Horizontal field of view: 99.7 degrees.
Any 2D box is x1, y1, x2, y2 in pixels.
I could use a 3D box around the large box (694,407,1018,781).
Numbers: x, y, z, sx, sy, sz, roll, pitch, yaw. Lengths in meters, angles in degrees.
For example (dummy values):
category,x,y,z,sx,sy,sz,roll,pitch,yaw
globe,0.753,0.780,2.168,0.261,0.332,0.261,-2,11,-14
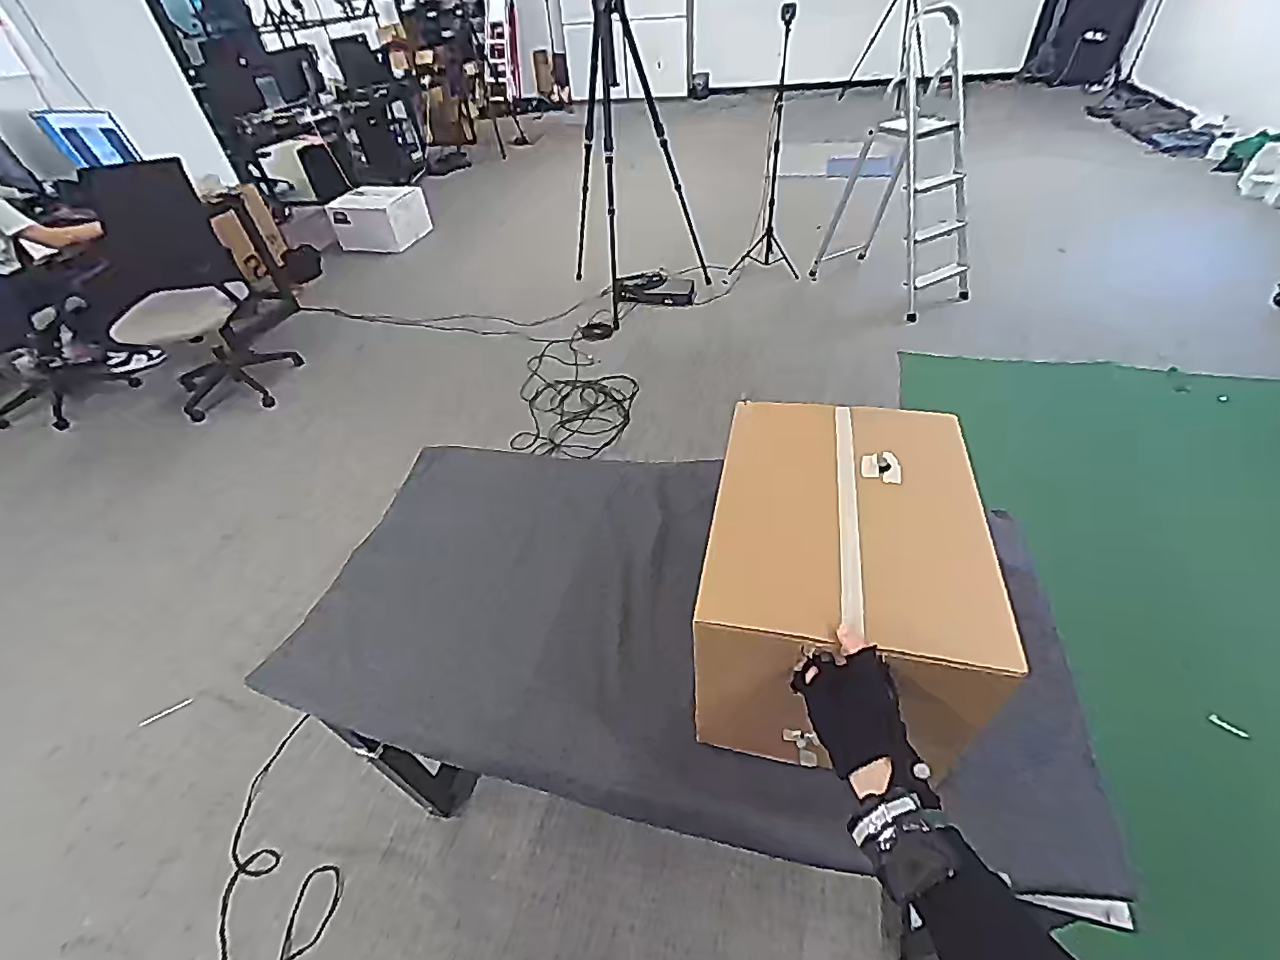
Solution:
category,x,y,z,sx,sy,sz,roll,pitch,yaw
large box,0.261,0.141,0.769,0.320,0.320,0.408,6,43,13
